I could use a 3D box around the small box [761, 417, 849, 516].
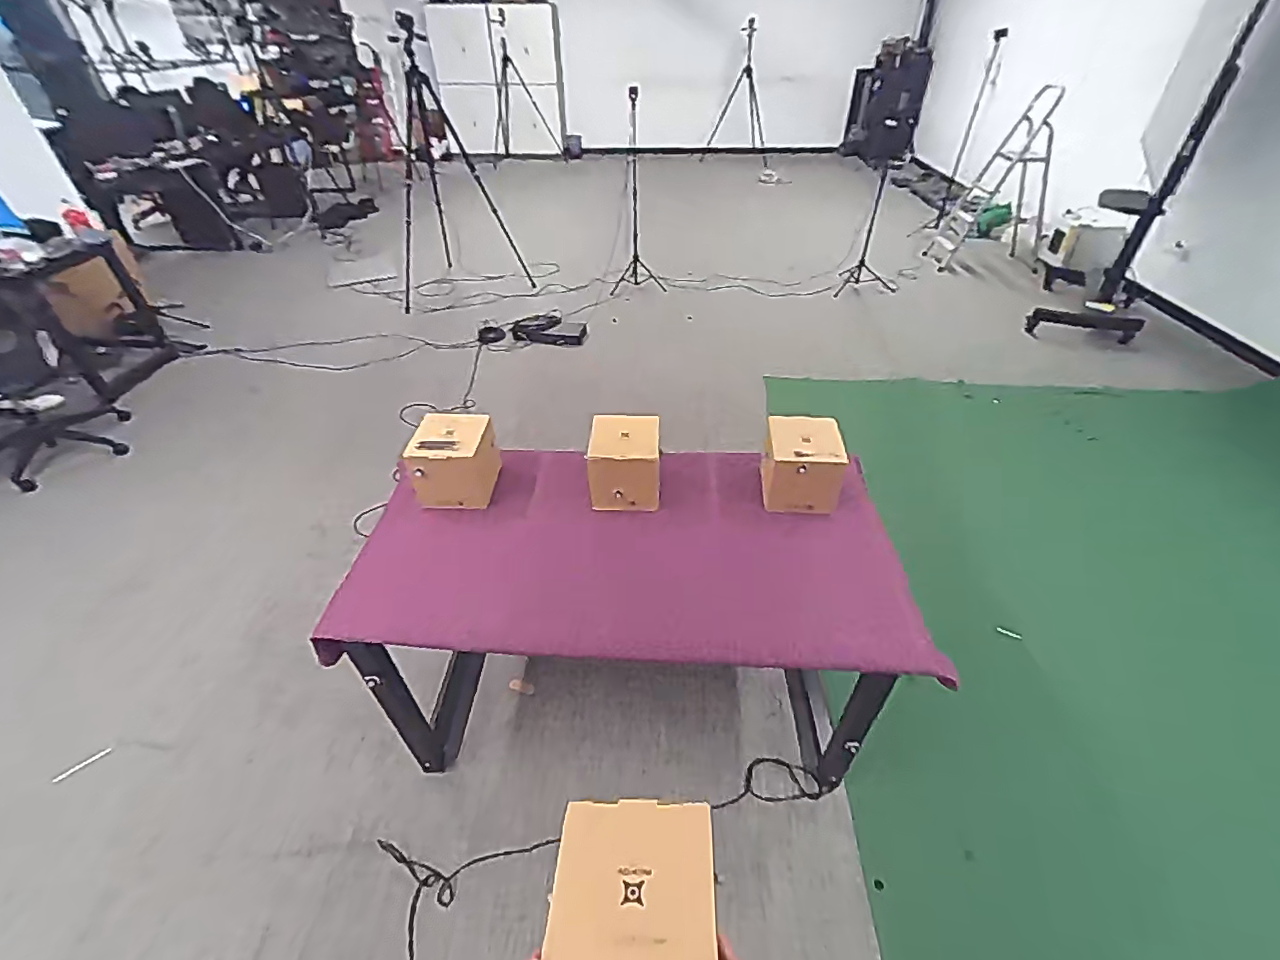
[{"bbox_3d":[0.394,-0.035,1.324,0.168,0.176,0.179,2,41,5],"label":"small box"}]

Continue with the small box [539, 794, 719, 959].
[{"bbox_3d":[-0.002,0.472,0.578,0.168,0.176,0.179,-2,30,5],"label":"small box"}]

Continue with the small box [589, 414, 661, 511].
[{"bbox_3d":[-0.035,-0.045,1.340,0.168,0.176,0.179,2,41,1],"label":"small box"}]
